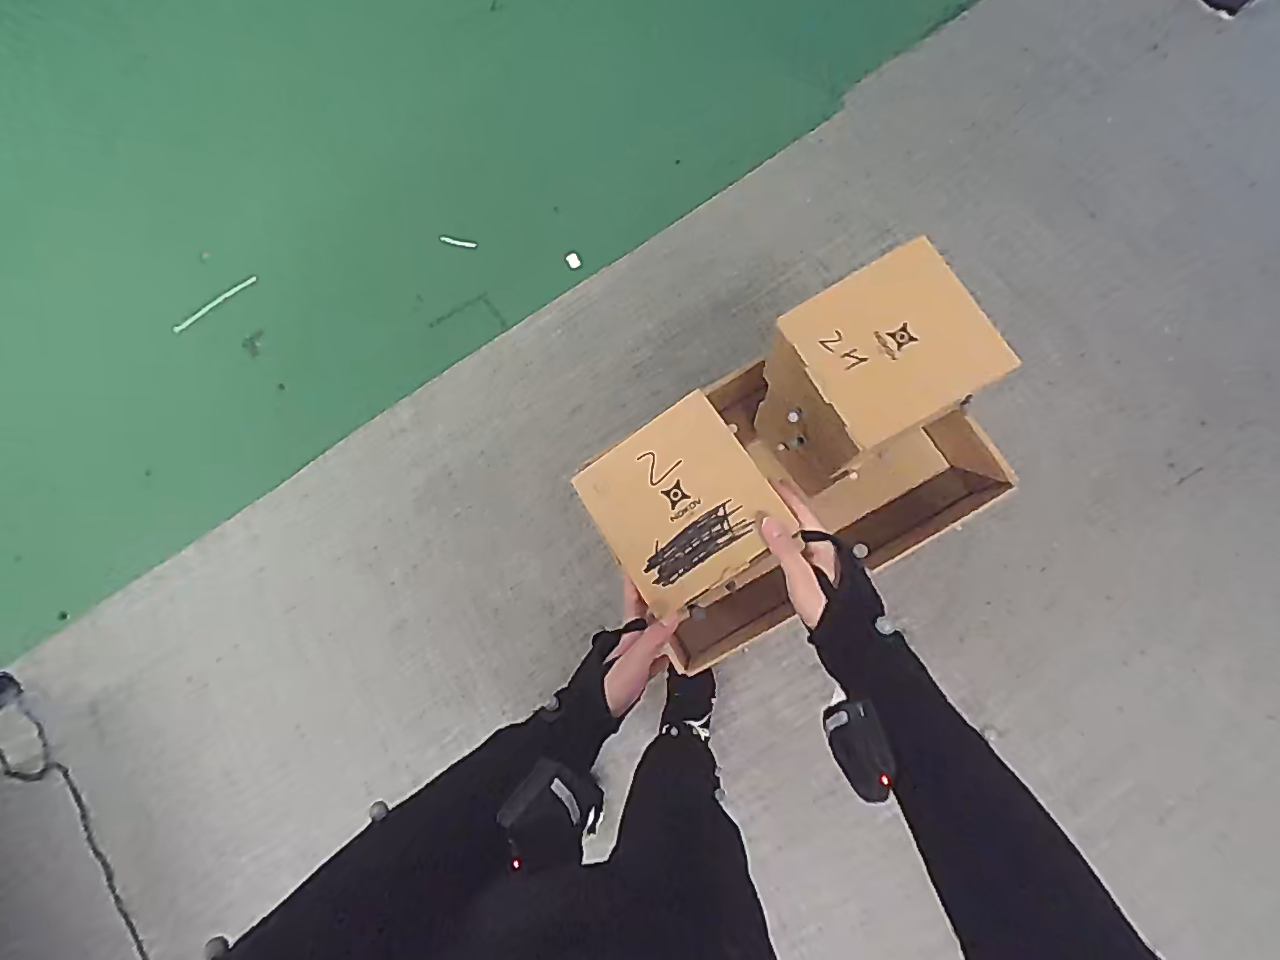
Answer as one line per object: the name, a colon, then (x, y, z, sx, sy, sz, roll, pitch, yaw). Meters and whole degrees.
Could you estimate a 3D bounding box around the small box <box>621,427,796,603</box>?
small box: (0.096, 0.054, 0.773, 0.168, 0.176, 0.179, -32, 78, 1)

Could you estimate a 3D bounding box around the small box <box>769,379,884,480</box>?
small box: (0.301, -0.117, 0.771, 0.179, 0.176, 0.168, -37, 79, 3)

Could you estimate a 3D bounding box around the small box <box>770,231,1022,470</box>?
small box: (0.264, -0.130, 0.609, 0.179, 0.176, 0.168, -29, 78, 4)
